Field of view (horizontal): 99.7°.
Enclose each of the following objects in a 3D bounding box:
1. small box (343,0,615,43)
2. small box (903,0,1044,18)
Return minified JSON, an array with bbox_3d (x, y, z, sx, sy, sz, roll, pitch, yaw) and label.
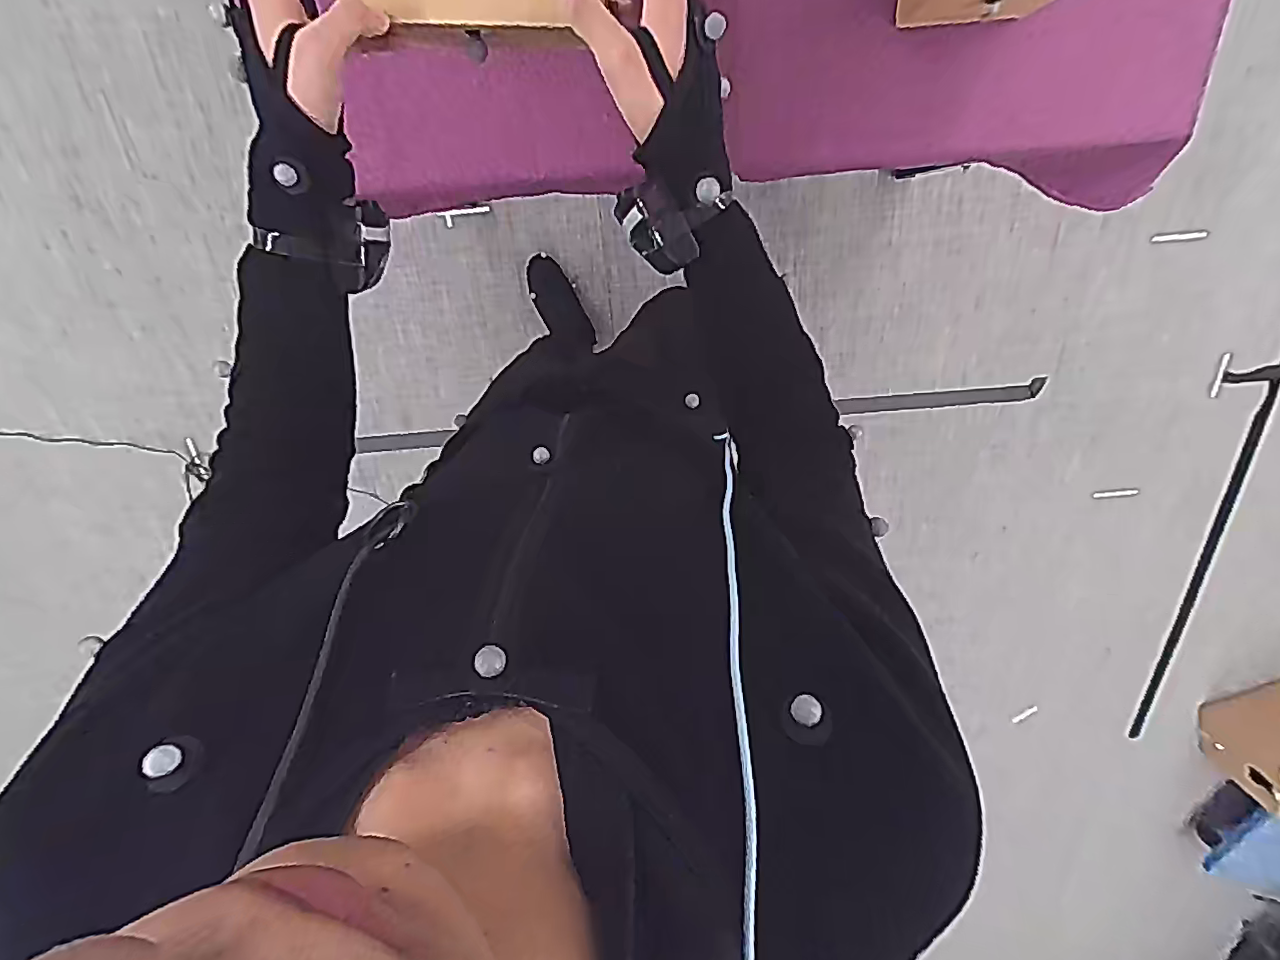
[{"bbox_3d":[-0.105,-0.415,0.373,0.179,0.176,0.168,0,125,-1],"label":"small box"},{"bbox_3d":[0.401,-0.623,0.573,0.168,0.176,0.179,-5,114,-2],"label":"small box"}]
